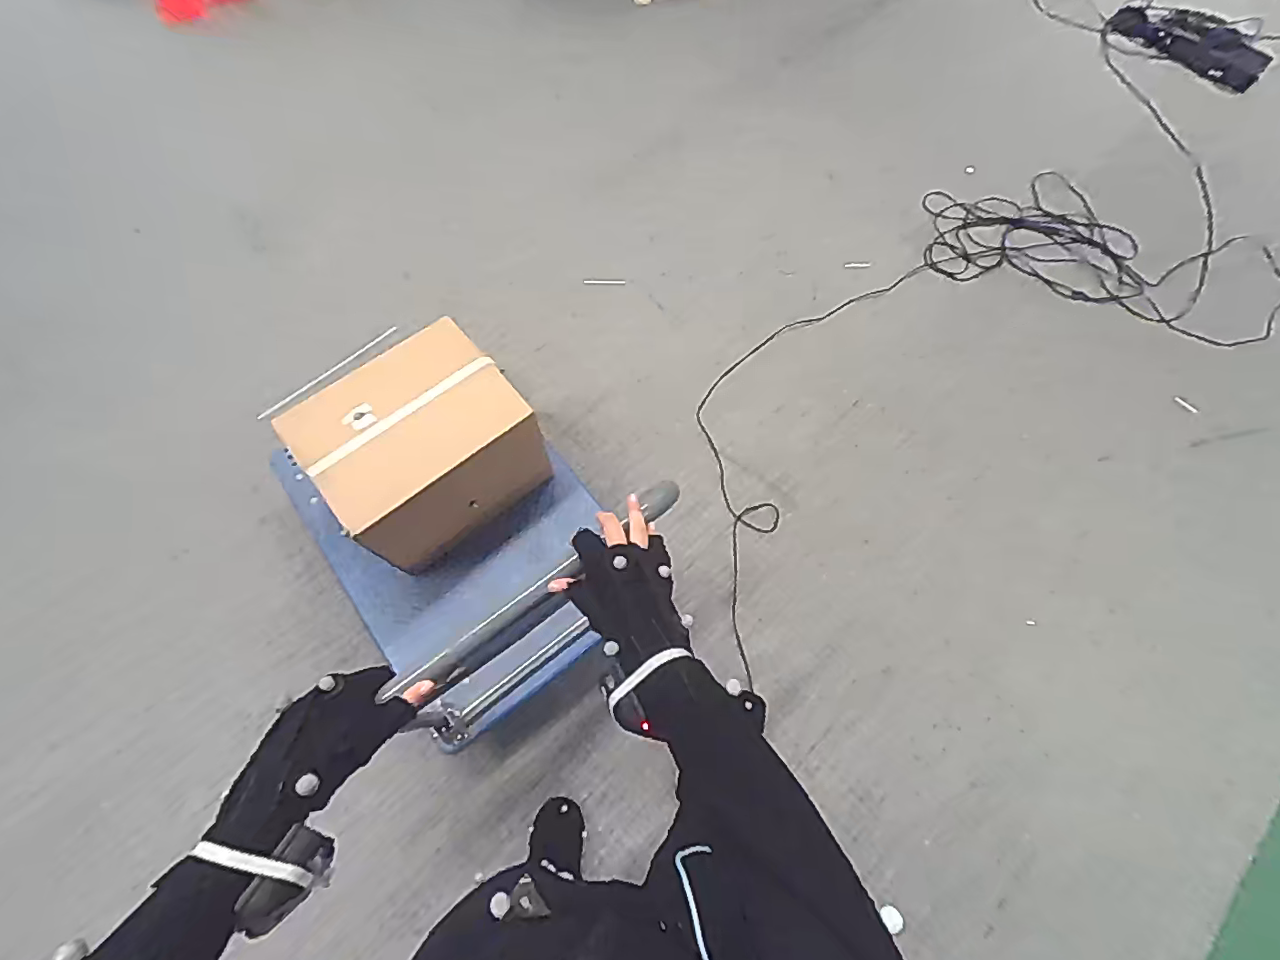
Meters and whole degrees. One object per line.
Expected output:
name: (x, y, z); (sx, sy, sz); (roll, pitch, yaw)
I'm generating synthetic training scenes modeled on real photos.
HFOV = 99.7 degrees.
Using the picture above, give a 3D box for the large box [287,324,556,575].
large box: (-0.449, -0.056, 1.205); (0.408, 0.320, 0.320); (-39, 72, -15)
